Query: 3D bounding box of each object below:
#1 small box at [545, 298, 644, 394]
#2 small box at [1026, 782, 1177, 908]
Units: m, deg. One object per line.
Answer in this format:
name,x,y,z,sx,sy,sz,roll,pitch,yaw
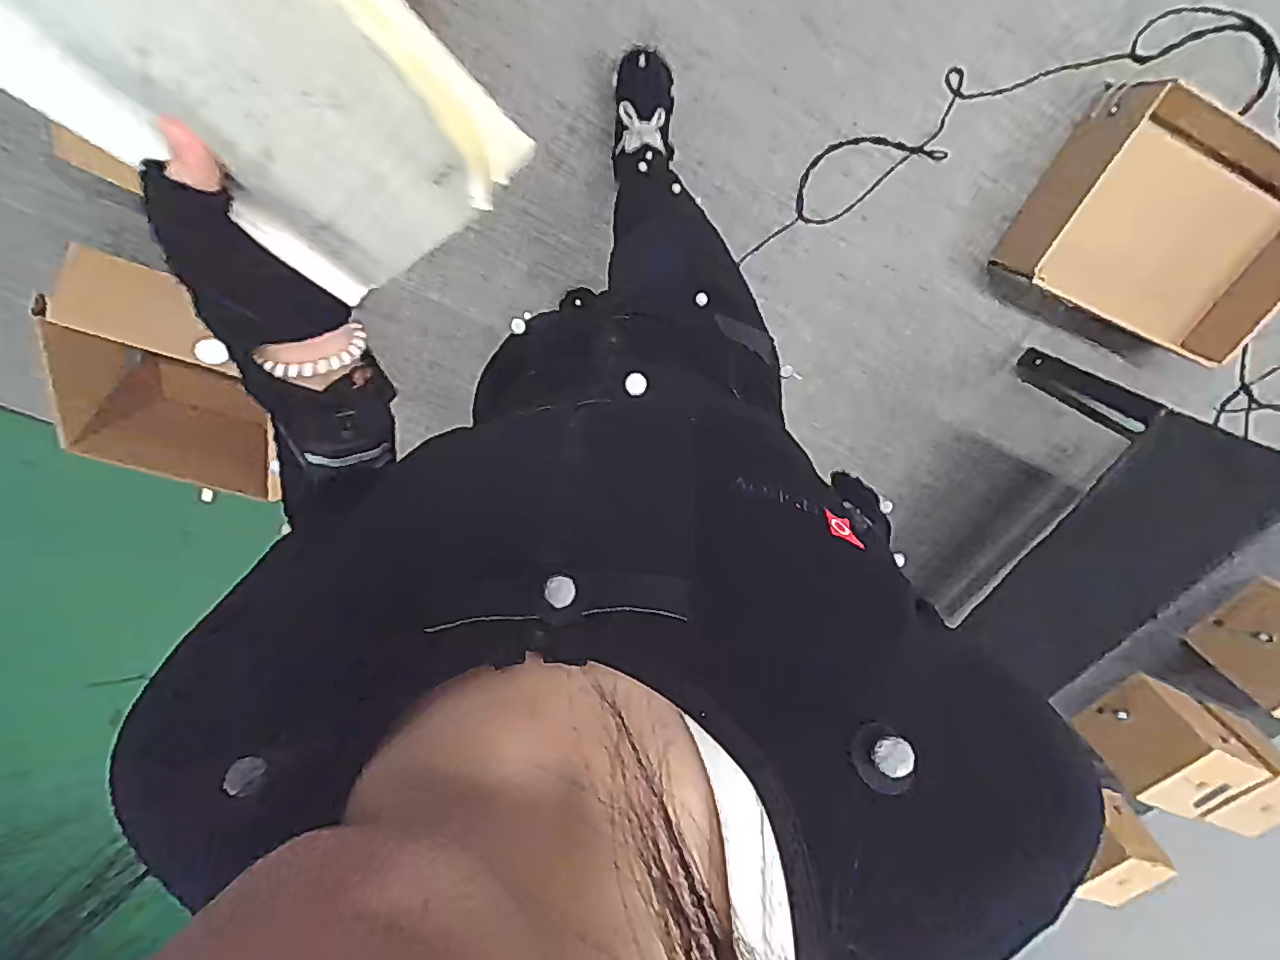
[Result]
small box,-0.117,-0.334,1.334,0.179,0.176,0.168,28,119,9
small box,1.041,0.837,1.243,0.168,0.176,0.179,22,116,-15
